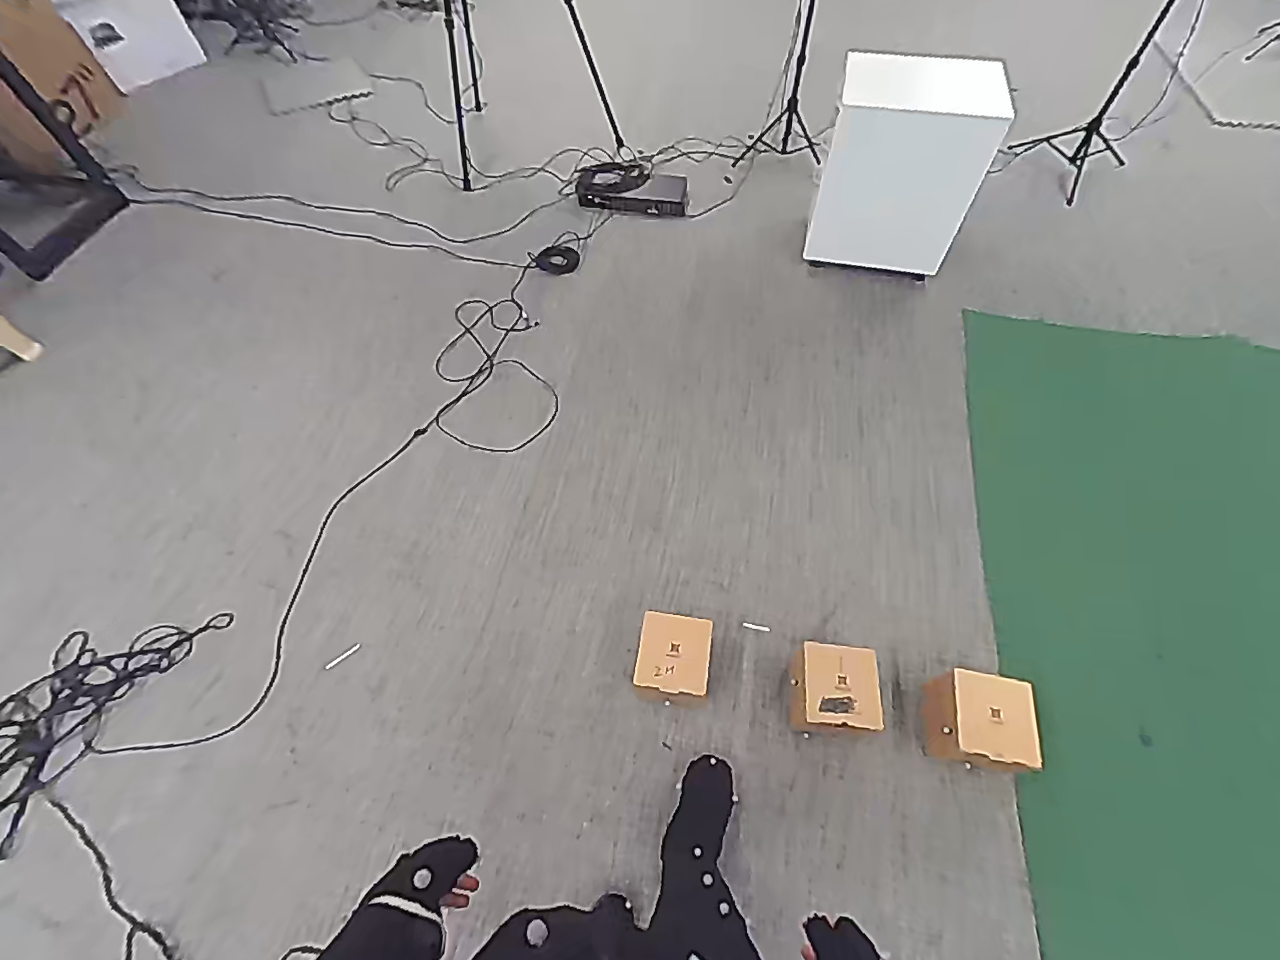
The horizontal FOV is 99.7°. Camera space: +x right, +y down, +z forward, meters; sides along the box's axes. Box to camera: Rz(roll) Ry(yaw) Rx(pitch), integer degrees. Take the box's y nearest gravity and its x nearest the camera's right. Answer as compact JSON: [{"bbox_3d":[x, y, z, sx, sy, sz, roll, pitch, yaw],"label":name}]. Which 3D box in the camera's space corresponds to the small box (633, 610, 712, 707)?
[{"bbox_3d":[0.080,0.439,1.322,0.168,0.176,0.179,7,59,7],"label":"small box"}]

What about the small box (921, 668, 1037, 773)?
[{"bbox_3d":[0.765,0.555,1.242,0.168,0.176,0.179,10,59,8],"label":"small box"}]

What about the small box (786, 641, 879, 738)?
[{"bbox_3d":[0.447,0.501,1.279,0.168,0.176,0.179,6,58,4],"label":"small box"}]
